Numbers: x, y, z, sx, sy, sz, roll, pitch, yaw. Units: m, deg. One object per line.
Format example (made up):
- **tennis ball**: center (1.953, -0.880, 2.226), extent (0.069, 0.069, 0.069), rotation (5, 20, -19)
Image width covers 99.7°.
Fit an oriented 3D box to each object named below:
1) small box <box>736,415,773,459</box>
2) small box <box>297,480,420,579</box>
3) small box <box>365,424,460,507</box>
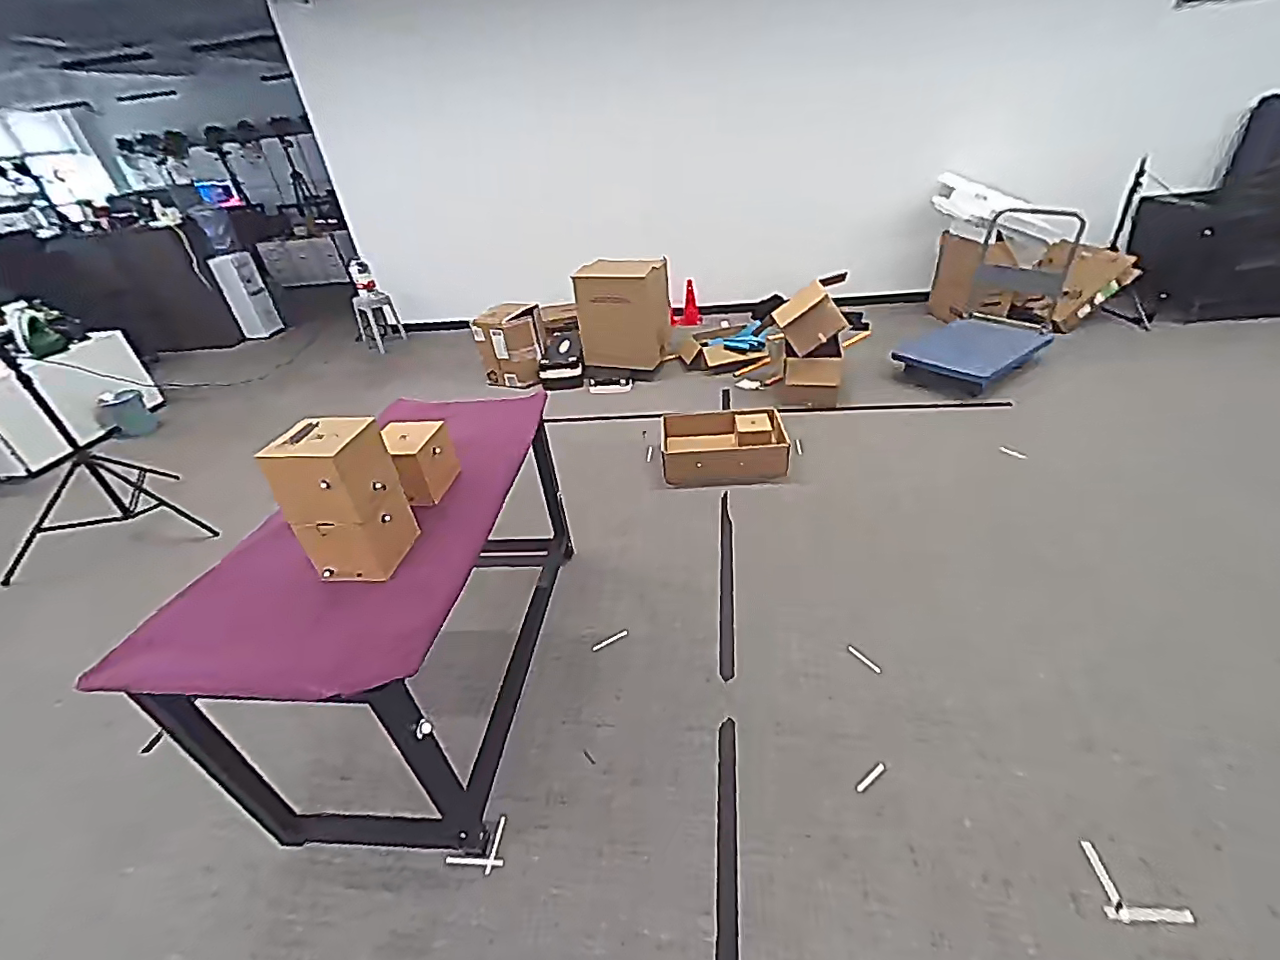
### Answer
- **small box**: center (0.584, -0.214, 2.763), extent (0.168, 0.176, 0.179), rotation (-3, 33, 5)
- **small box**: center (-0.642, 0.117, 1.264), extent (0.168, 0.176, 0.179), rotation (-1, 33, 8)
- **small box**: center (-0.619, -0.042, 1.500), extent (0.168, 0.176, 0.179), rotation (-1, 35, 9)
